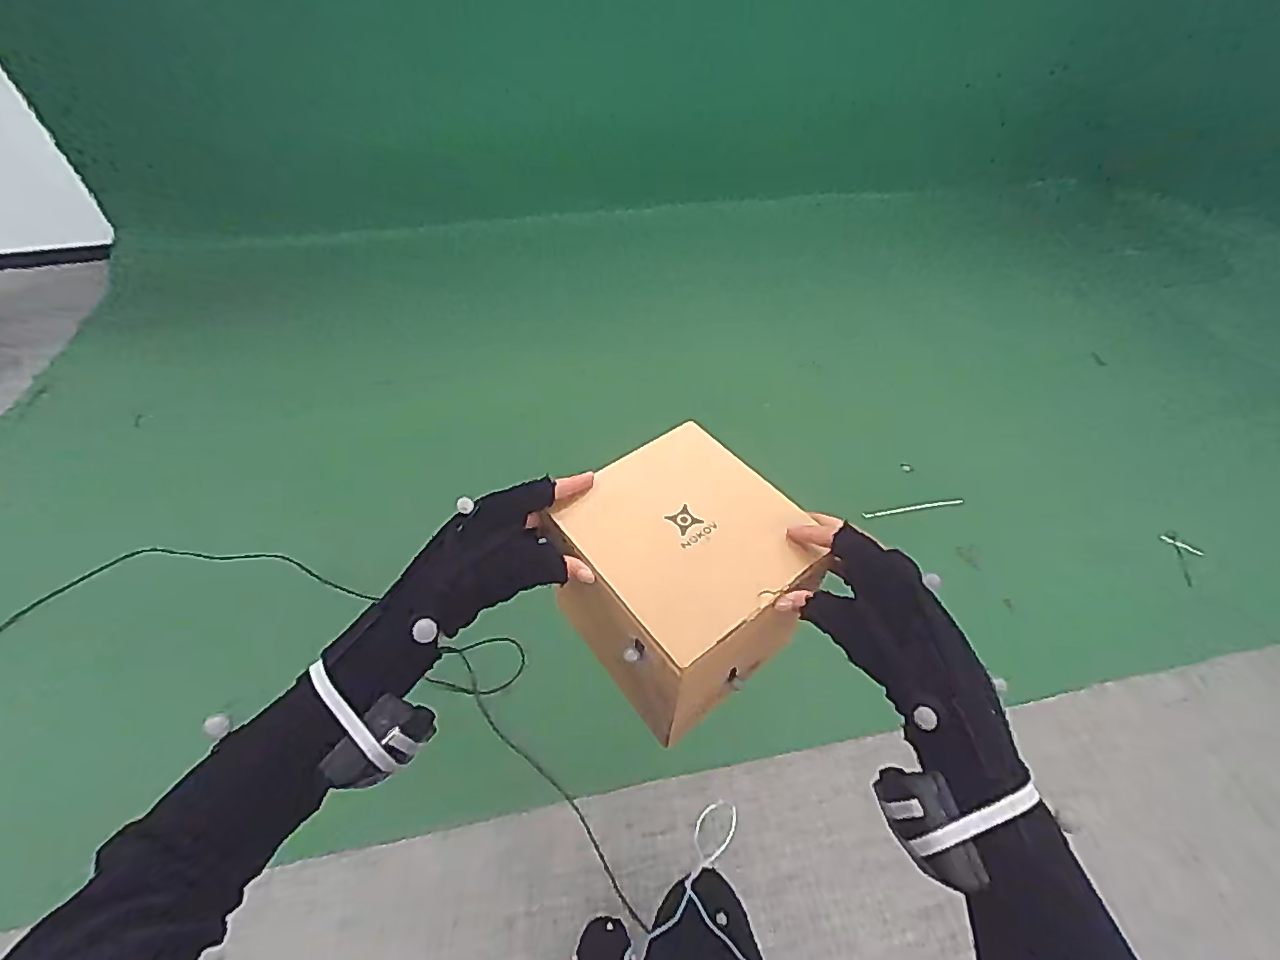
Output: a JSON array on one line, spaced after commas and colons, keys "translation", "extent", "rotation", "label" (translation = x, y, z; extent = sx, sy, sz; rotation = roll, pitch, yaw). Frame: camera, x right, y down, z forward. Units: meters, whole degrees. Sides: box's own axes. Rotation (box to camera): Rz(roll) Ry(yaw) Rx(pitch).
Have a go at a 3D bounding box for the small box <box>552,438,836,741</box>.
[{"translation": [0.036, 0.098, 0.493], "extent": [0.168, 0.176, 0.179], "rotation": [-29, 57, -26], "label": "small box"}]
